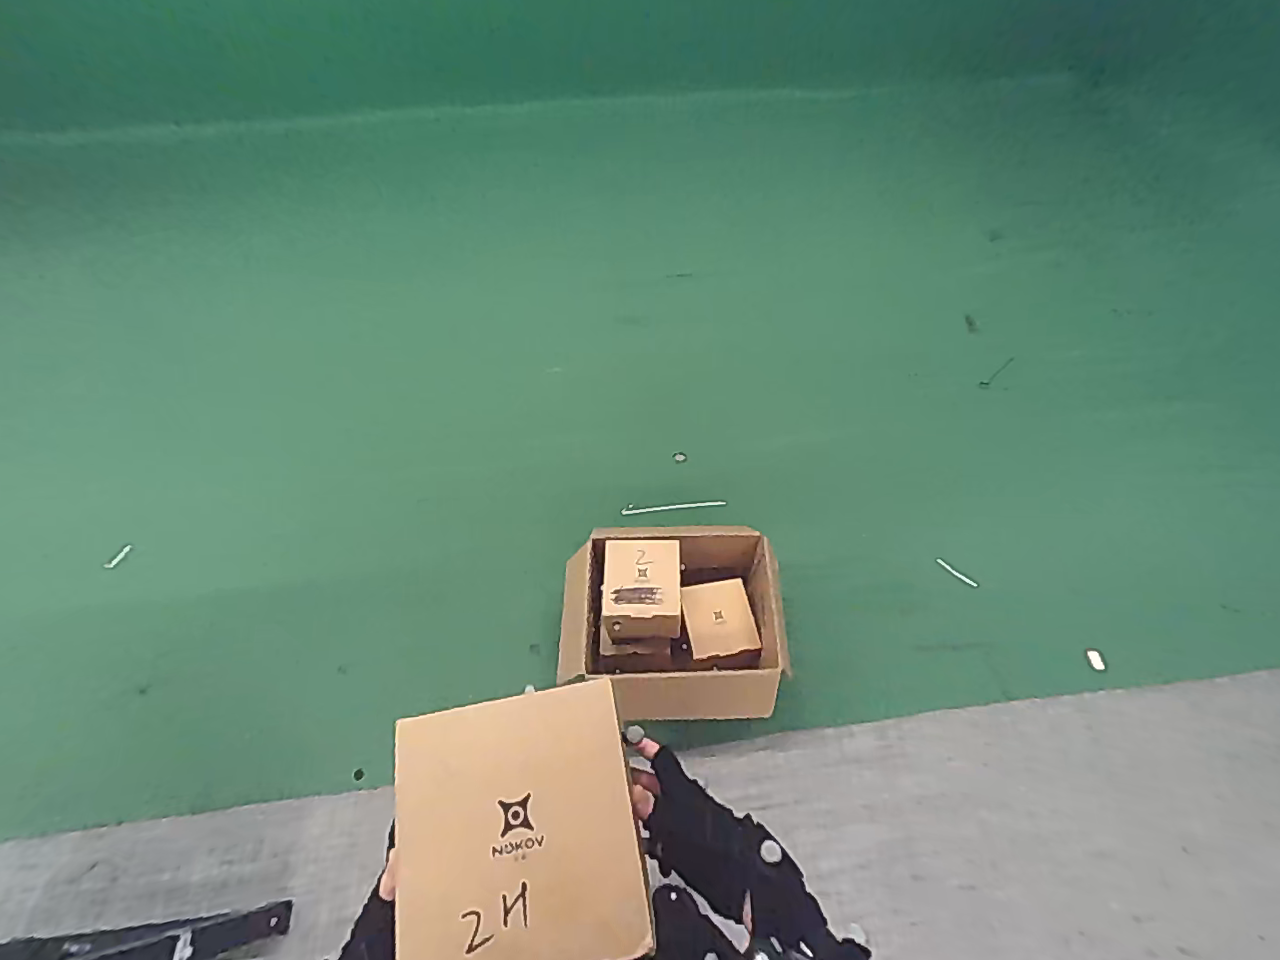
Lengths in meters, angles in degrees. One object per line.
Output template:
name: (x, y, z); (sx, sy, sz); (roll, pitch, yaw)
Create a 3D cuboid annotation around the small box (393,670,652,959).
small box: (-0.088, 0.272, 0.449); (0.168, 0.176, 0.179); (-9, 64, -4)
